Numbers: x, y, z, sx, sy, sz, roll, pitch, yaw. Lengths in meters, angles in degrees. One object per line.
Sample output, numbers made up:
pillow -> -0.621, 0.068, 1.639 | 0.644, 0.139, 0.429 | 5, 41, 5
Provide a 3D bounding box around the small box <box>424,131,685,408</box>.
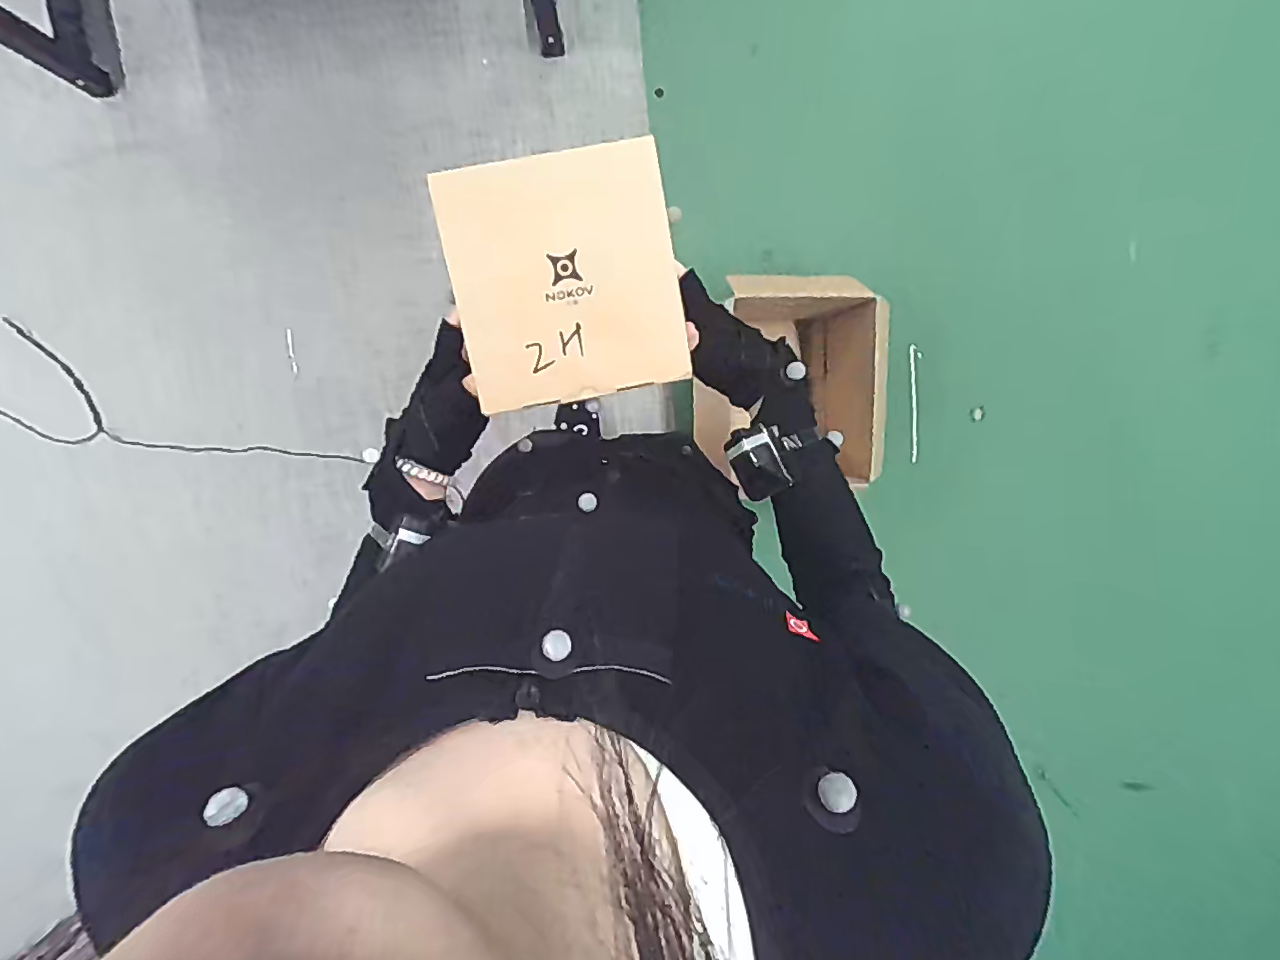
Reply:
small box -> -0.064, -0.164, 0.475 | 0.168, 0.176, 0.179 | -11, 101, -1
